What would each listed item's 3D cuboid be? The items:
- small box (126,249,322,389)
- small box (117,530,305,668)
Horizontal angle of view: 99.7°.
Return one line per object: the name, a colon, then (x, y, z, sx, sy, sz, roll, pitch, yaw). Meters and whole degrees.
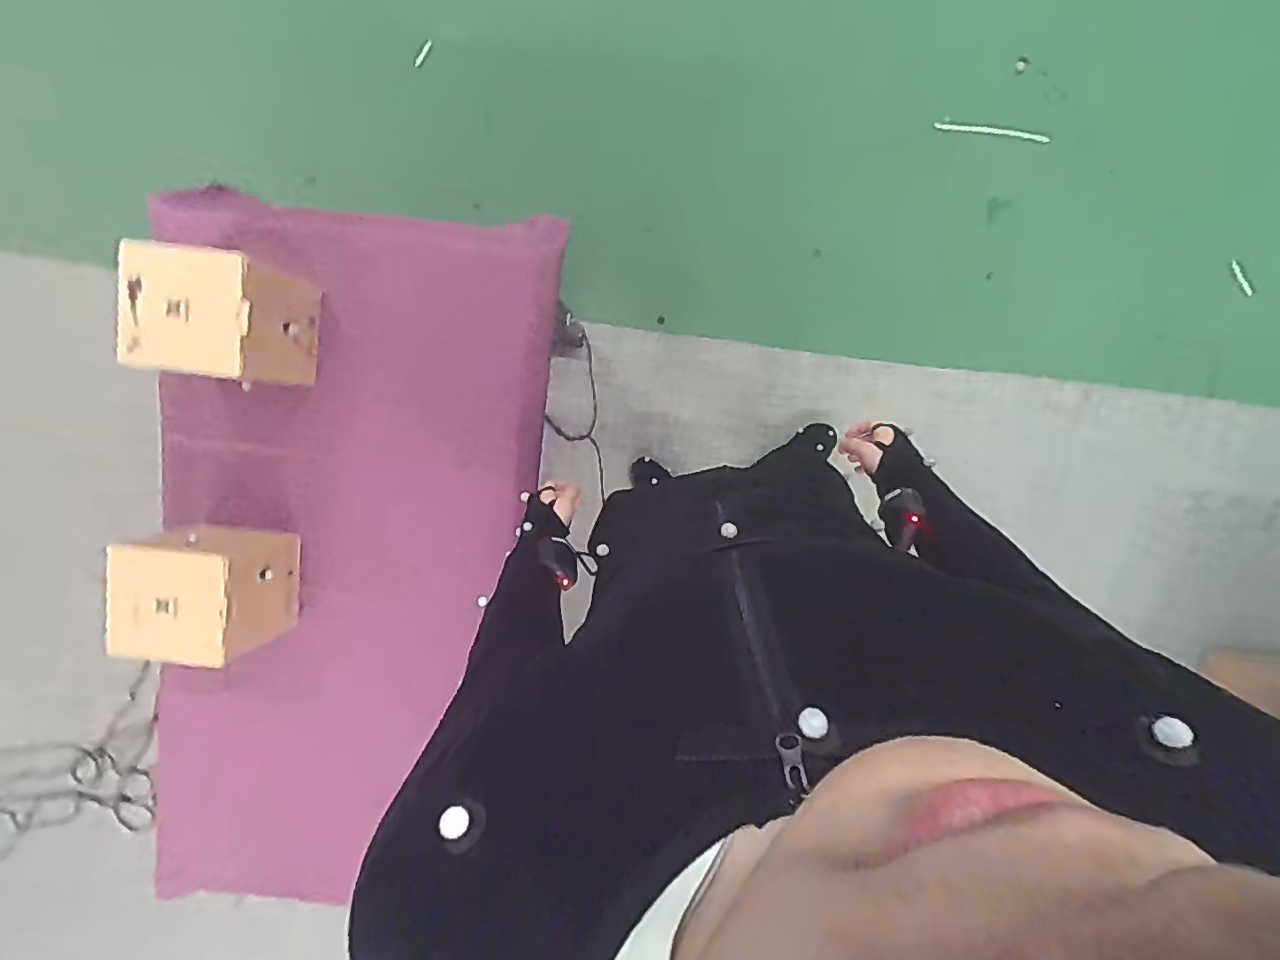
small box: (-0.615, -0.231, 0.820, 0.179, 0.176, 0.168, 7, 96, 1)
small box: (-0.669, 0.179, 0.862, 0.179, 0.176, 0.168, 6, 95, 2)
